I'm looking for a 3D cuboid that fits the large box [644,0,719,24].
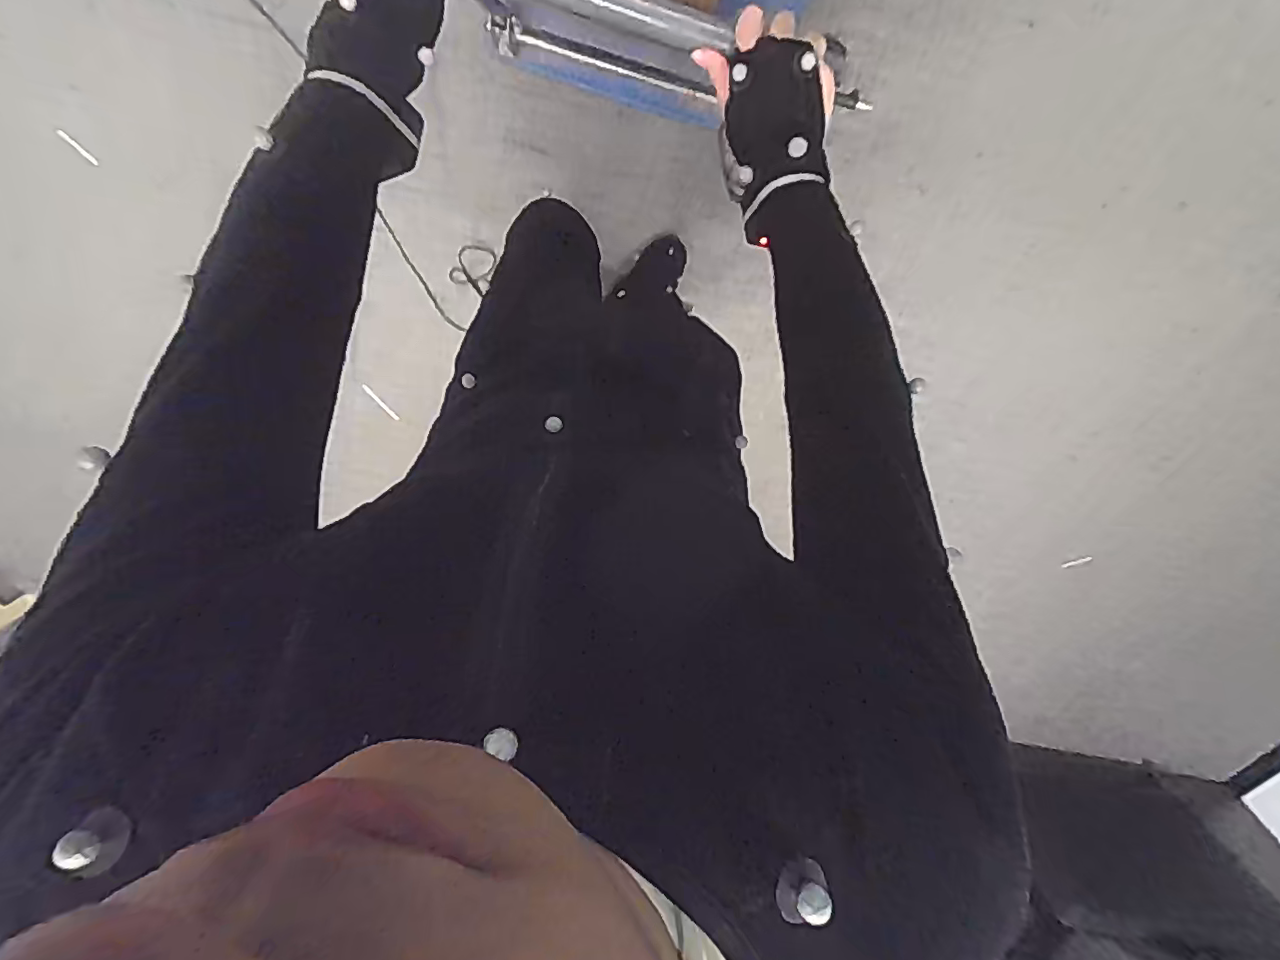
[{"bbox_3d":[0.033,-0.961,0.757,0.320,0.320,0.408,16,121,-8],"label":"large box"}]
